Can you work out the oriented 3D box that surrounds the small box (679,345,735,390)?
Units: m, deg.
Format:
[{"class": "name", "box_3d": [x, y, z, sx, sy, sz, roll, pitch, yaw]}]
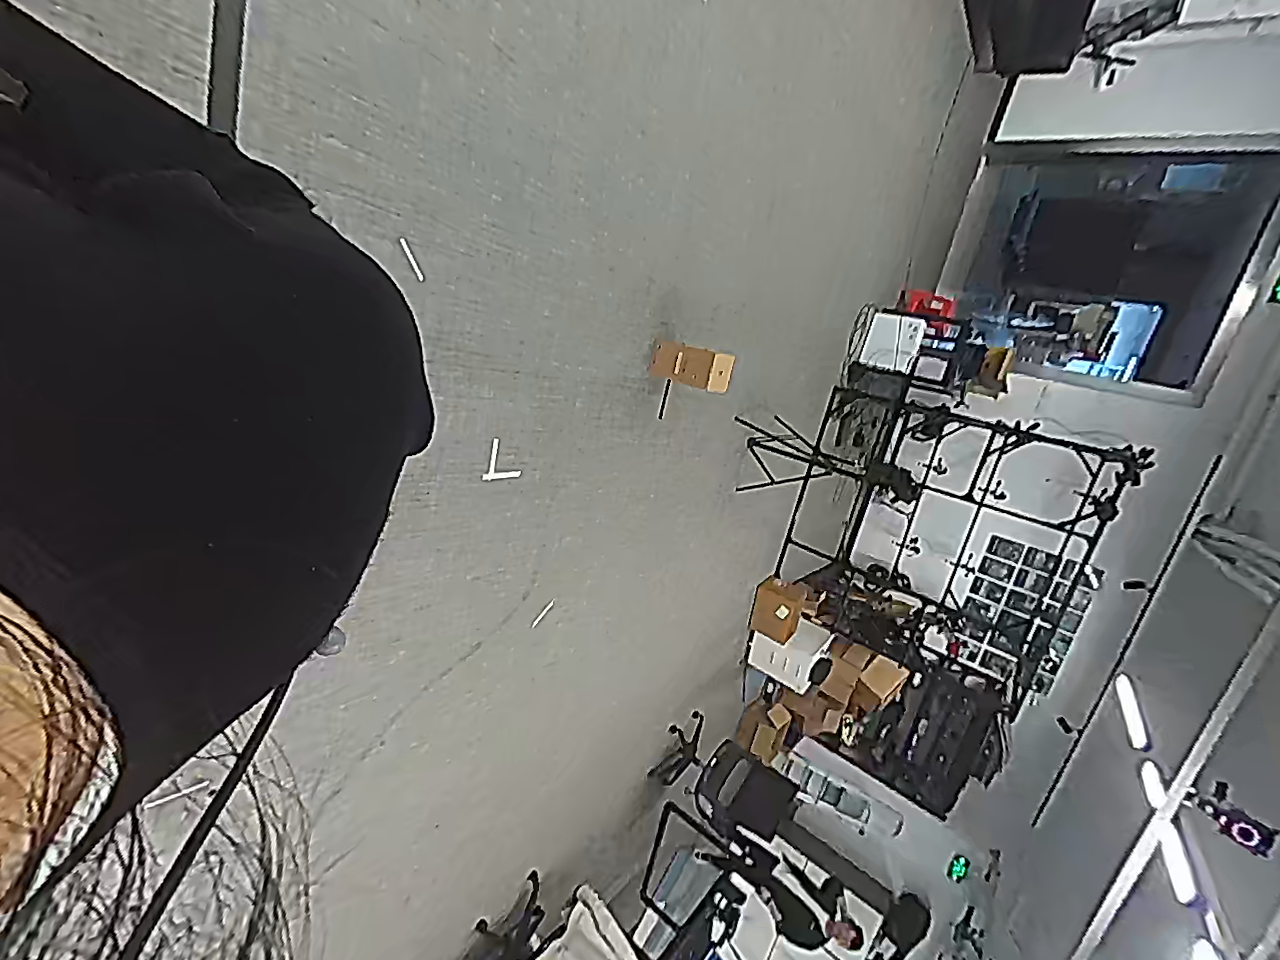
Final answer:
[{"class": "small box", "box_3d": [0.295, -0.504, 2.418, 0.179, 0.176, 0.168, -9, 117, -53]}]

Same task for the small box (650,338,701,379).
[{"class": "small box", "box_3d": [0.171, -0.558, 2.508, 0.179, 0.176, 0.168, -8, 115, -53]}]
